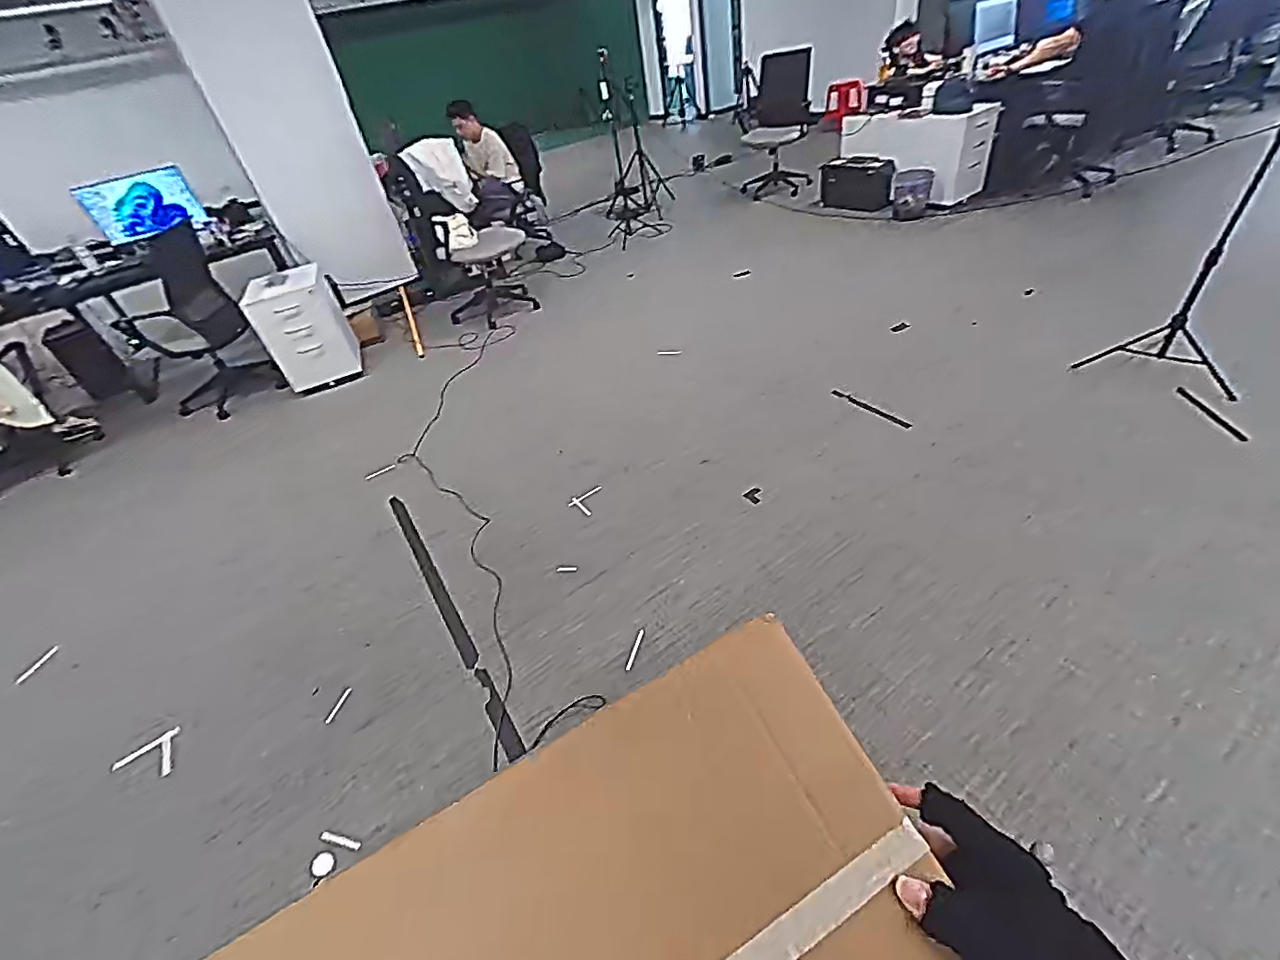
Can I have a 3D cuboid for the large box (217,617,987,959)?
[{"bbox_3d":[-0.014,0.368,0.432,0.408,0.320,0.320,-27,72,-14],"label":"large box"}]
